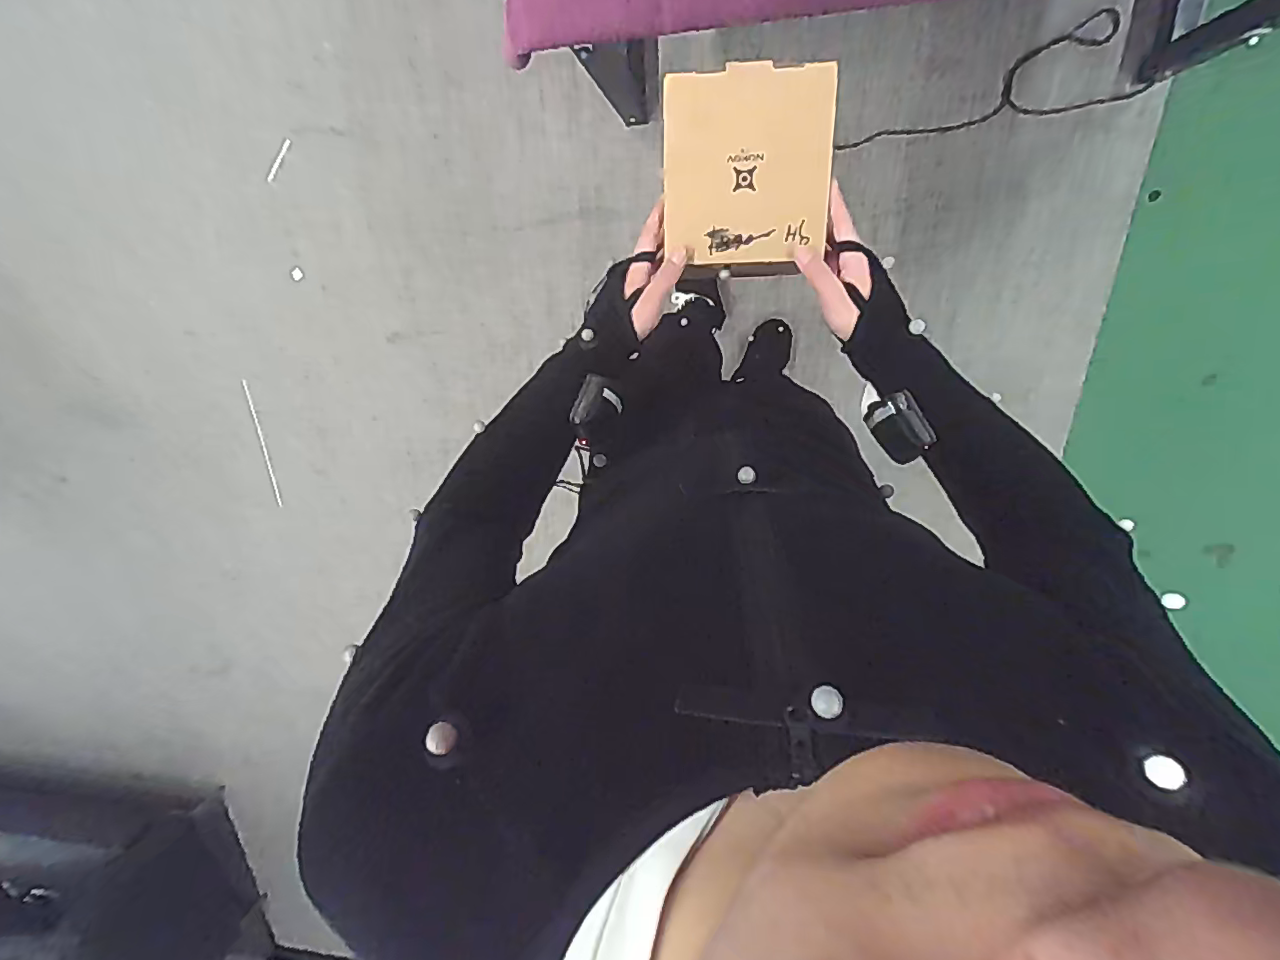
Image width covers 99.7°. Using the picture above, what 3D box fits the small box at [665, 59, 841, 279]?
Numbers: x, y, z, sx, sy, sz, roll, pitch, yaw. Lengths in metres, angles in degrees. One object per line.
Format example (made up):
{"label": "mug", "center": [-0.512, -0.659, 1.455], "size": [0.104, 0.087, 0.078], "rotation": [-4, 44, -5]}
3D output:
{"label": "small box", "center": [0.115, -0.327, 0.606], "size": [0.168, 0.176, 0.179], "rotation": [1, 106, 7]}
